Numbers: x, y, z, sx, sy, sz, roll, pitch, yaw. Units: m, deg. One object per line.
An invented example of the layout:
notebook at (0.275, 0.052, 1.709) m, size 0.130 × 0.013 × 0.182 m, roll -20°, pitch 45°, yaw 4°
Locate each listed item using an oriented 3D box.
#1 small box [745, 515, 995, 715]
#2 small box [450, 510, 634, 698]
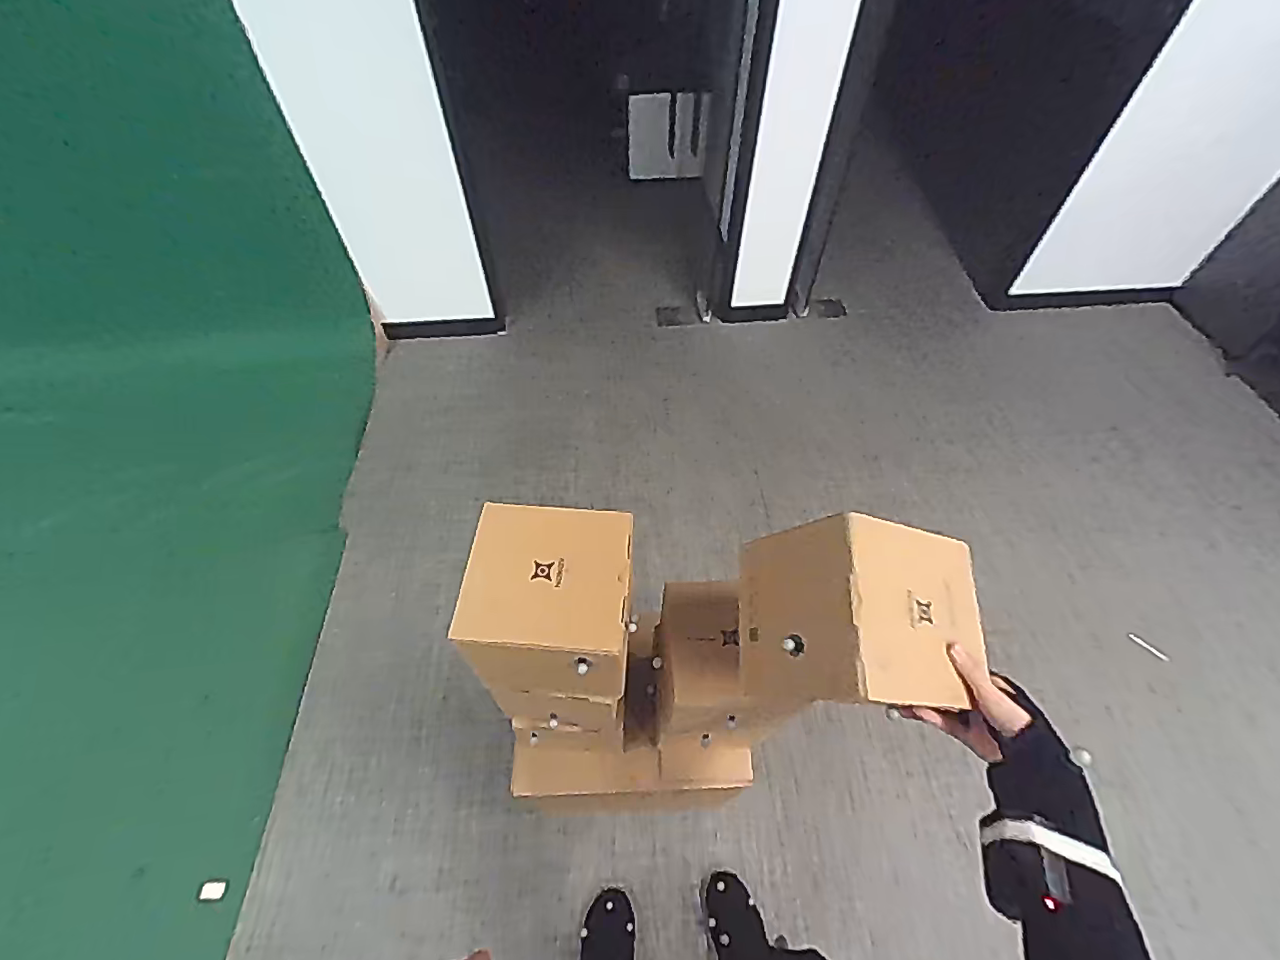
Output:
small box at (0.227, 0.150, 0.570) m, size 0.179 × 0.176 × 0.168 m, roll 16°, pitch 66°, yaw -25°
small box at (-0.101, 0.152, 0.648) m, size 0.179 × 0.176 × 0.168 m, roll 4°, pitch 54°, yaw 1°
